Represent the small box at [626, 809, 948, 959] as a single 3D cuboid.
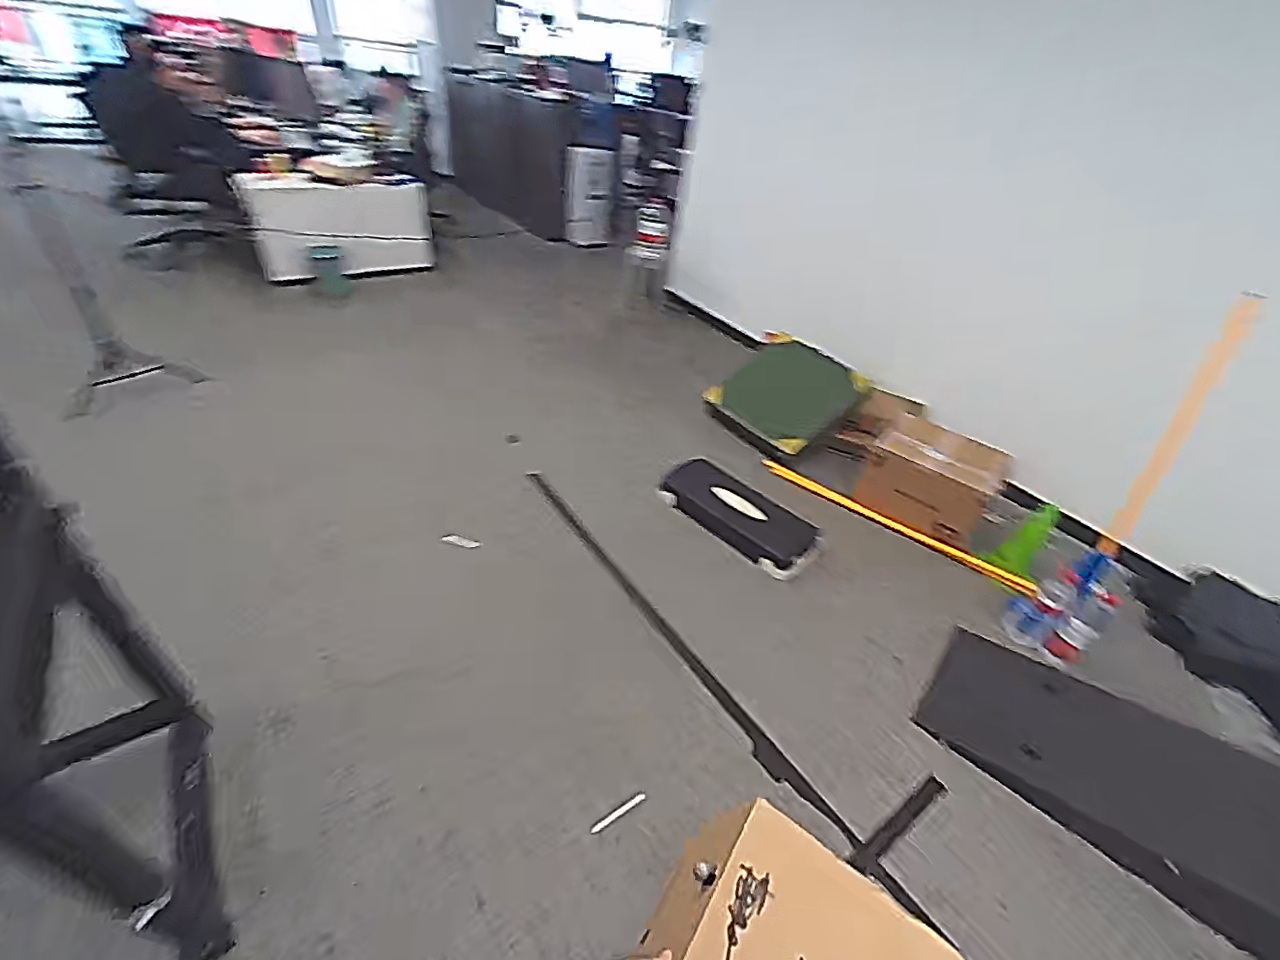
[{"bbox_3d":[0.094,0.384,0.395,0.179,0.176,0.168,34,49,13],"label":"small box"}]
